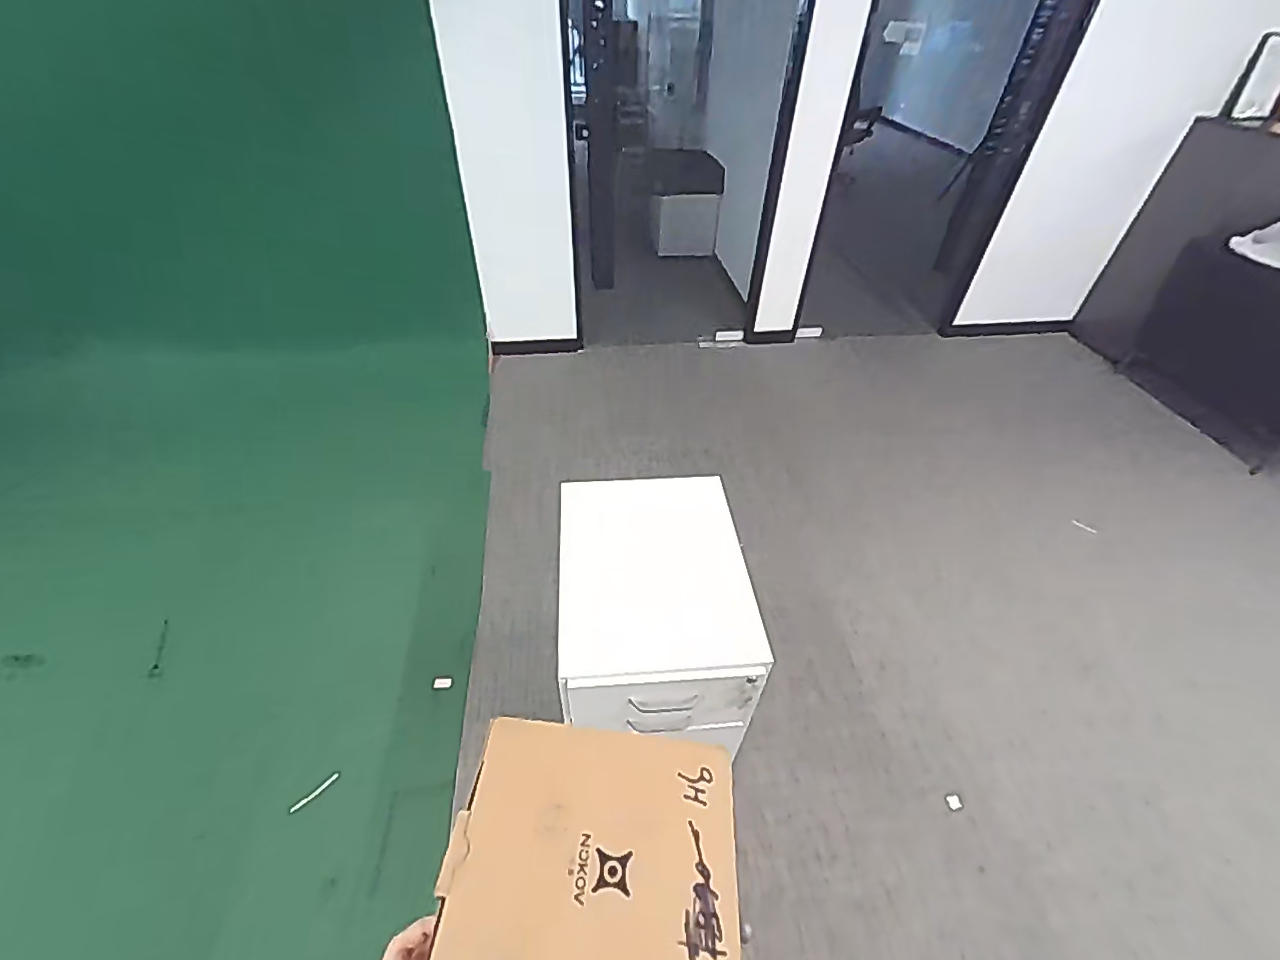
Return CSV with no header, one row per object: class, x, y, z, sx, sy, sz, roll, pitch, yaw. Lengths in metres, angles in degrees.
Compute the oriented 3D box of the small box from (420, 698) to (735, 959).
small box,-0.039,0.287,0.396,0.179,0.176,0.168,10,42,-3
